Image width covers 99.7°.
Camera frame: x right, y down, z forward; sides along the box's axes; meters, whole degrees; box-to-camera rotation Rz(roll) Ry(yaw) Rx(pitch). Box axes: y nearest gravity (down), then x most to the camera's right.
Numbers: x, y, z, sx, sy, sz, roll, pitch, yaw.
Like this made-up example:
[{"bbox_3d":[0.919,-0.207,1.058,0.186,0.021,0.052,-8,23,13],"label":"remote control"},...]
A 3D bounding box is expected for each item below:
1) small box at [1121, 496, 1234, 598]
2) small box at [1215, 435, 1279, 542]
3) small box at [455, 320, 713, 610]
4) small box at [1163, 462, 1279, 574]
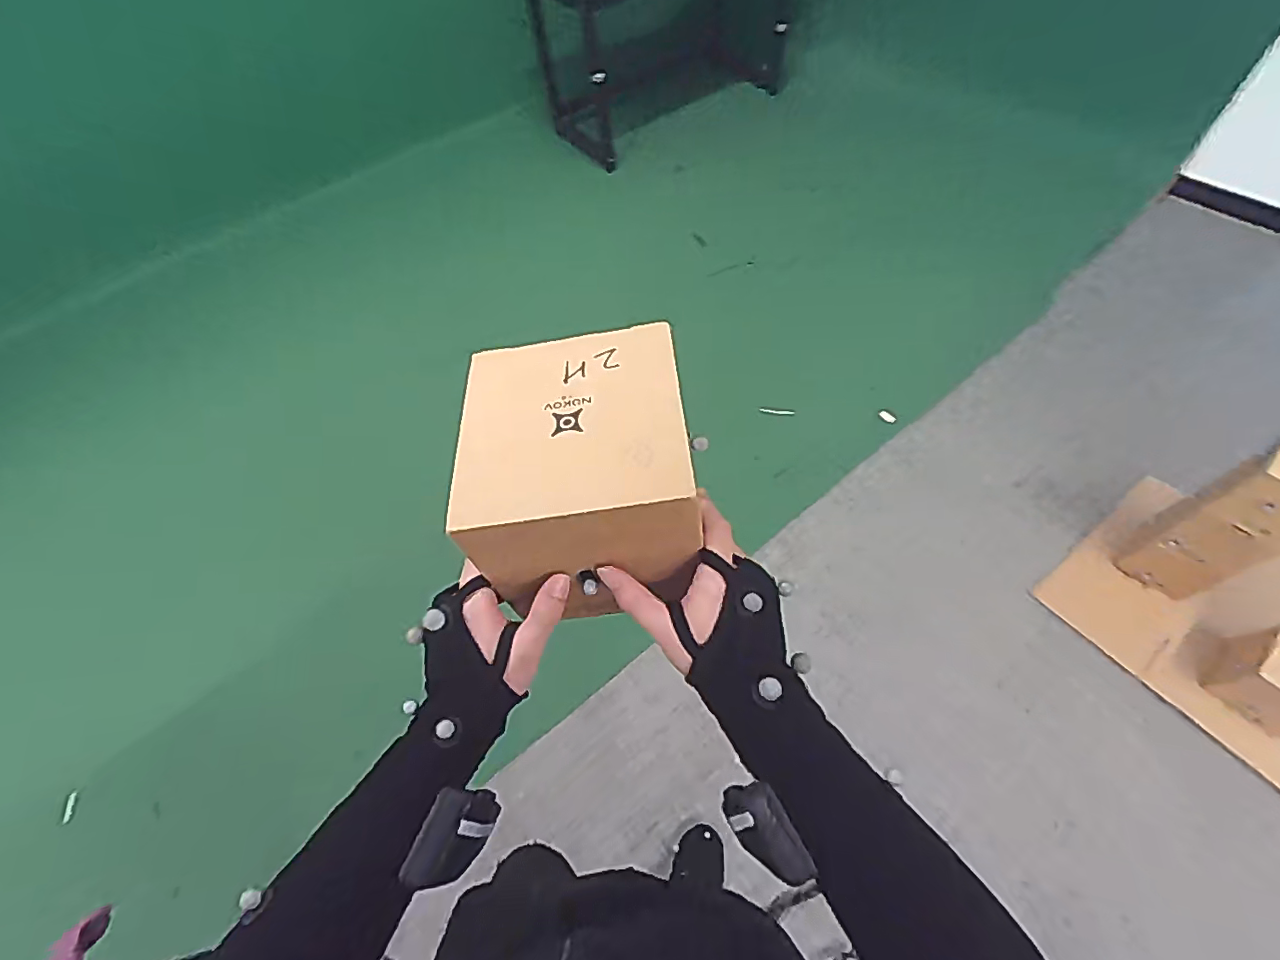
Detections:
[{"bbox_3d":[1.458,0.182,1.452,0.168,0.176,0.179,38,70,26],"label":"small box"},{"bbox_3d":[1.429,0.014,1.175,0.179,0.176,0.168,-39,61,-17],"label":"small box"},{"bbox_3d":[-0.032,-0.002,0.454,0.168,0.176,0.179,-7,53,5],"label":"small box"},{"bbox_3d":[1.441,0.097,1.314,0.179,0.176,0.168,-39,62,-17],"label":"small box"}]
